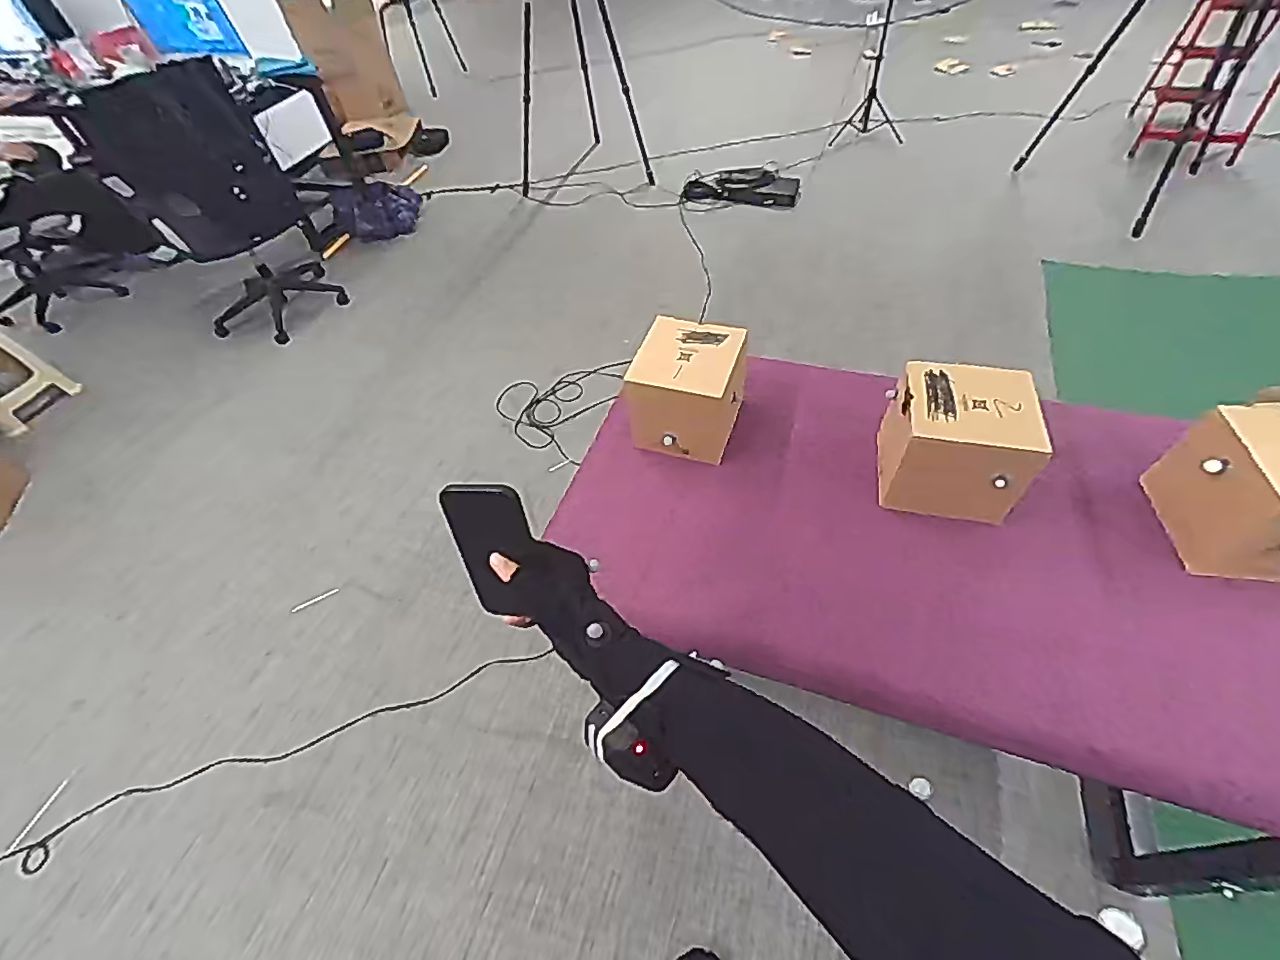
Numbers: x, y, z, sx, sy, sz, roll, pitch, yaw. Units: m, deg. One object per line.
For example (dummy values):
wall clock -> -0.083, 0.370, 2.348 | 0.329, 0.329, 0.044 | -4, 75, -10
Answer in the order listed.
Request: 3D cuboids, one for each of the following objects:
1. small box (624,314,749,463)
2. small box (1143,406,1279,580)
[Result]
small box -> 0.084, -0.160, 0.949 | 0.168, 0.176, 0.179 | 14, 56, 16
small box -> 0.846, 0.023, 0.726 | 0.168, 0.176, 0.179 | 4, 51, 10
